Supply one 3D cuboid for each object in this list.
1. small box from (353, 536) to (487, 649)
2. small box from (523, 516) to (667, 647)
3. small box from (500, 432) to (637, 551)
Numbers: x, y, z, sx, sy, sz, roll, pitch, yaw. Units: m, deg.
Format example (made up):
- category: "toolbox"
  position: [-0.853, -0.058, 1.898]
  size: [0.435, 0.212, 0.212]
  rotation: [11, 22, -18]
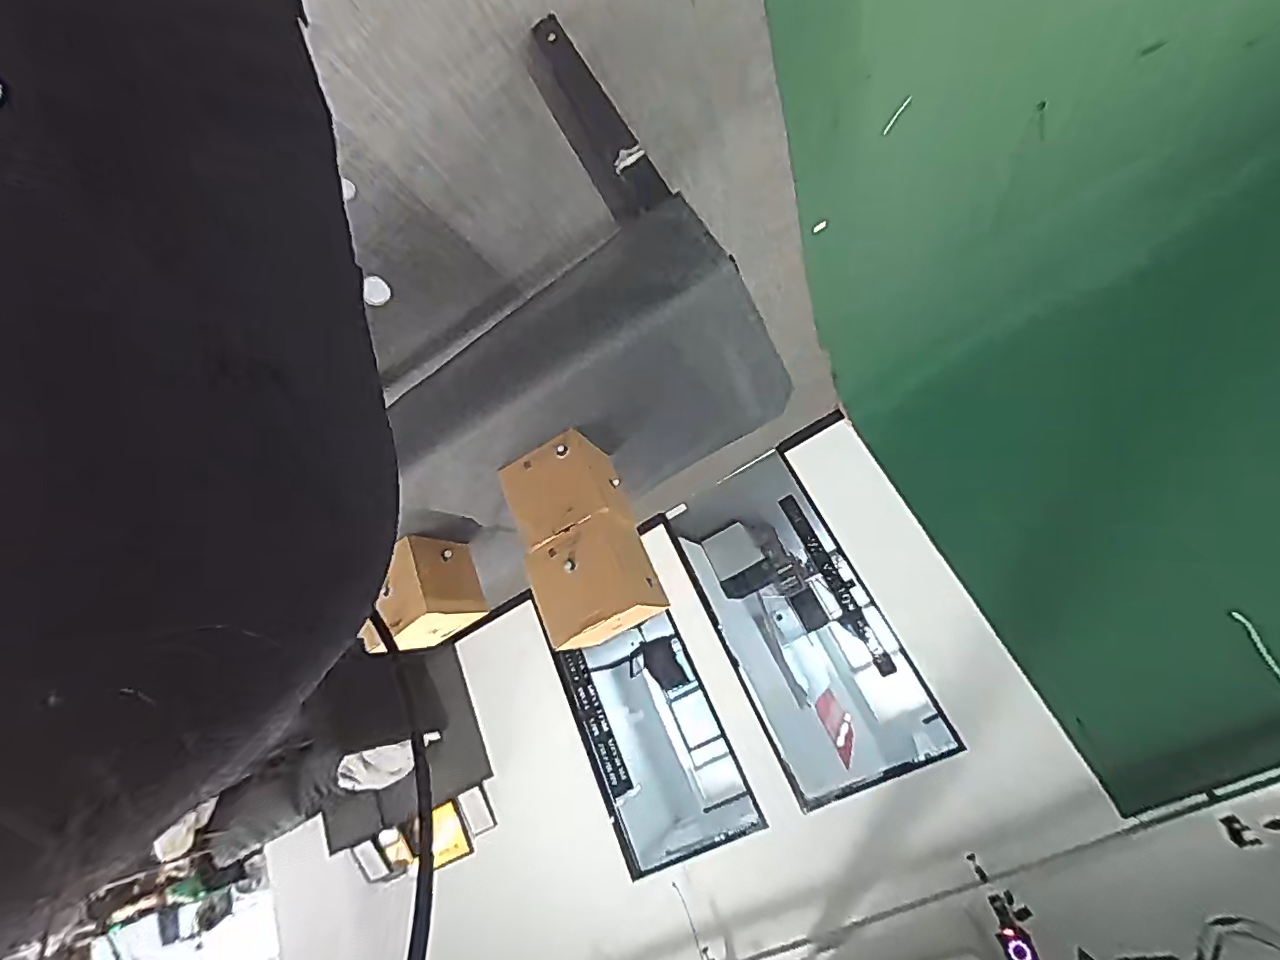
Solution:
- category: "small box"
  position: [-0.452, 0.229, 1.108]
  size: [0.168, 0.176, 0.179]
  rotation: [-32, 157, 14]
- category: "small box"
  position: [-0.078, 0.180, 0.962]
  size: [0.168, 0.176, 0.179]
  rotation: [-31, 158, 12]
- category: "small box"
  position: [-0.134, 0.033, 1.012]
  size: [0.168, 0.176, 0.179]
  rotation: [-29, 159, 9]
